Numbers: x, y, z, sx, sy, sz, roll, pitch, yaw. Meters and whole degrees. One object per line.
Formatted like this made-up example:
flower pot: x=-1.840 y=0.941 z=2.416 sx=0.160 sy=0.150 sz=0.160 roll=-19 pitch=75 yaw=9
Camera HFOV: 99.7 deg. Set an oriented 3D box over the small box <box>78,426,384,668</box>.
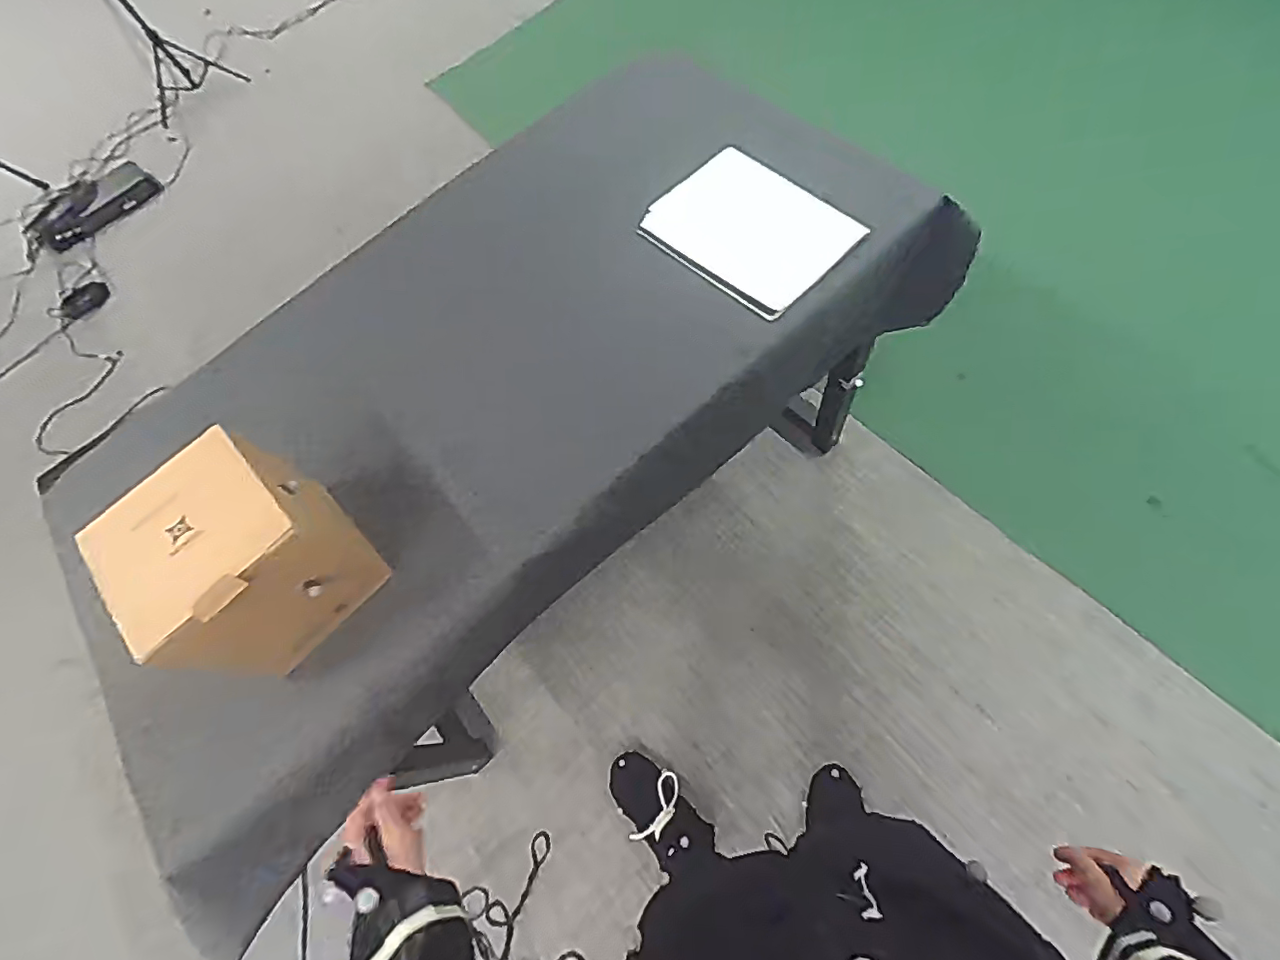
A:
small box: x=-0.418 y=0.081 z=0.580 sx=0.179 sy=0.176 sz=0.168 roll=39 pitch=76 yaw=24
